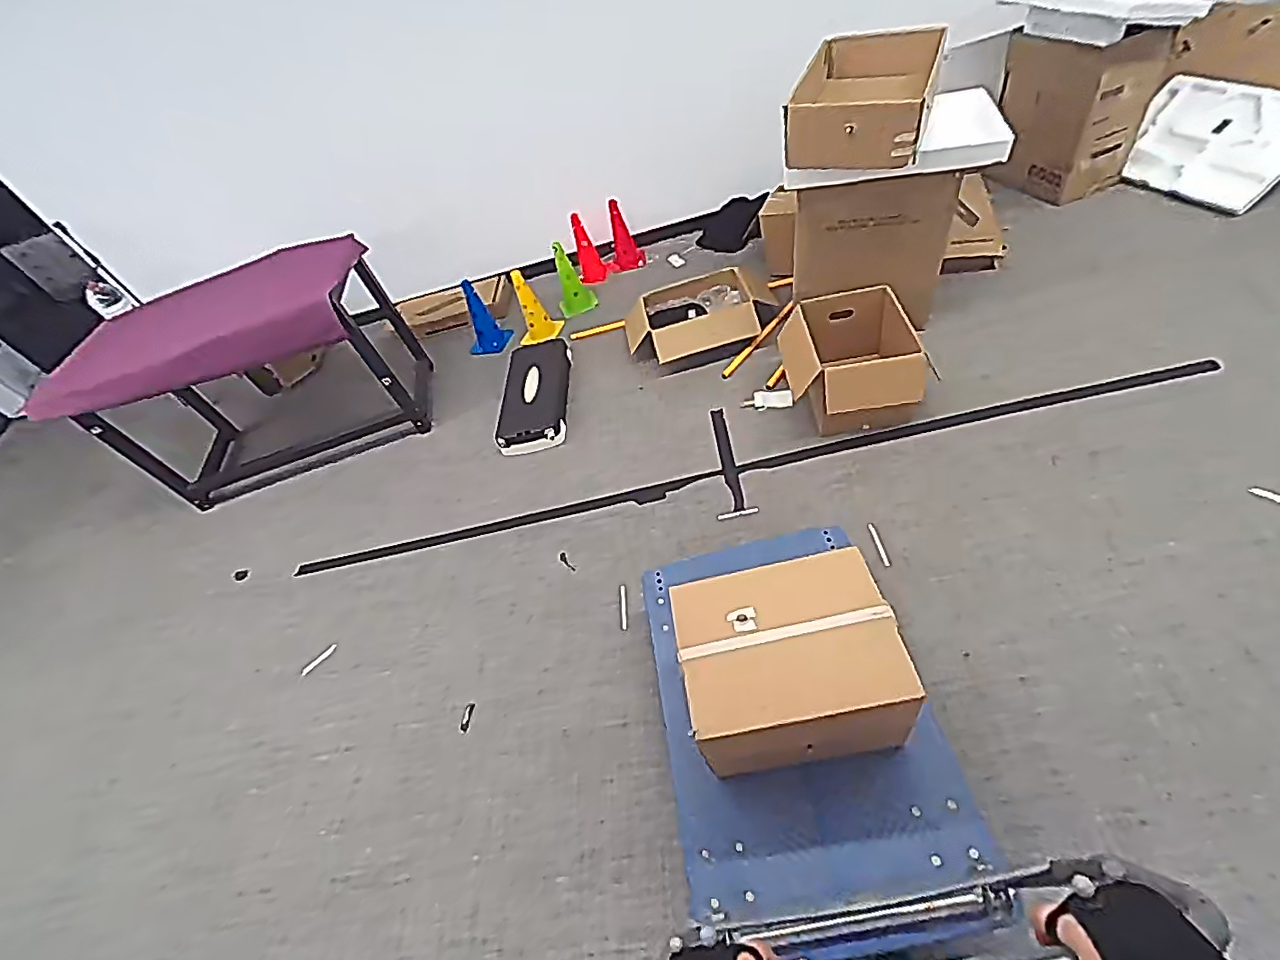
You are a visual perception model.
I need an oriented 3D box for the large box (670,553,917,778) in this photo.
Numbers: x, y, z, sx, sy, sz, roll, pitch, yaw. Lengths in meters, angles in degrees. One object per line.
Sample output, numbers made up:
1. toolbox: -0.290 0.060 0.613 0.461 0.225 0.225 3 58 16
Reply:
1. large box: 0.311 0.407 1.161 0.408 0.320 0.320 -15 47 6
